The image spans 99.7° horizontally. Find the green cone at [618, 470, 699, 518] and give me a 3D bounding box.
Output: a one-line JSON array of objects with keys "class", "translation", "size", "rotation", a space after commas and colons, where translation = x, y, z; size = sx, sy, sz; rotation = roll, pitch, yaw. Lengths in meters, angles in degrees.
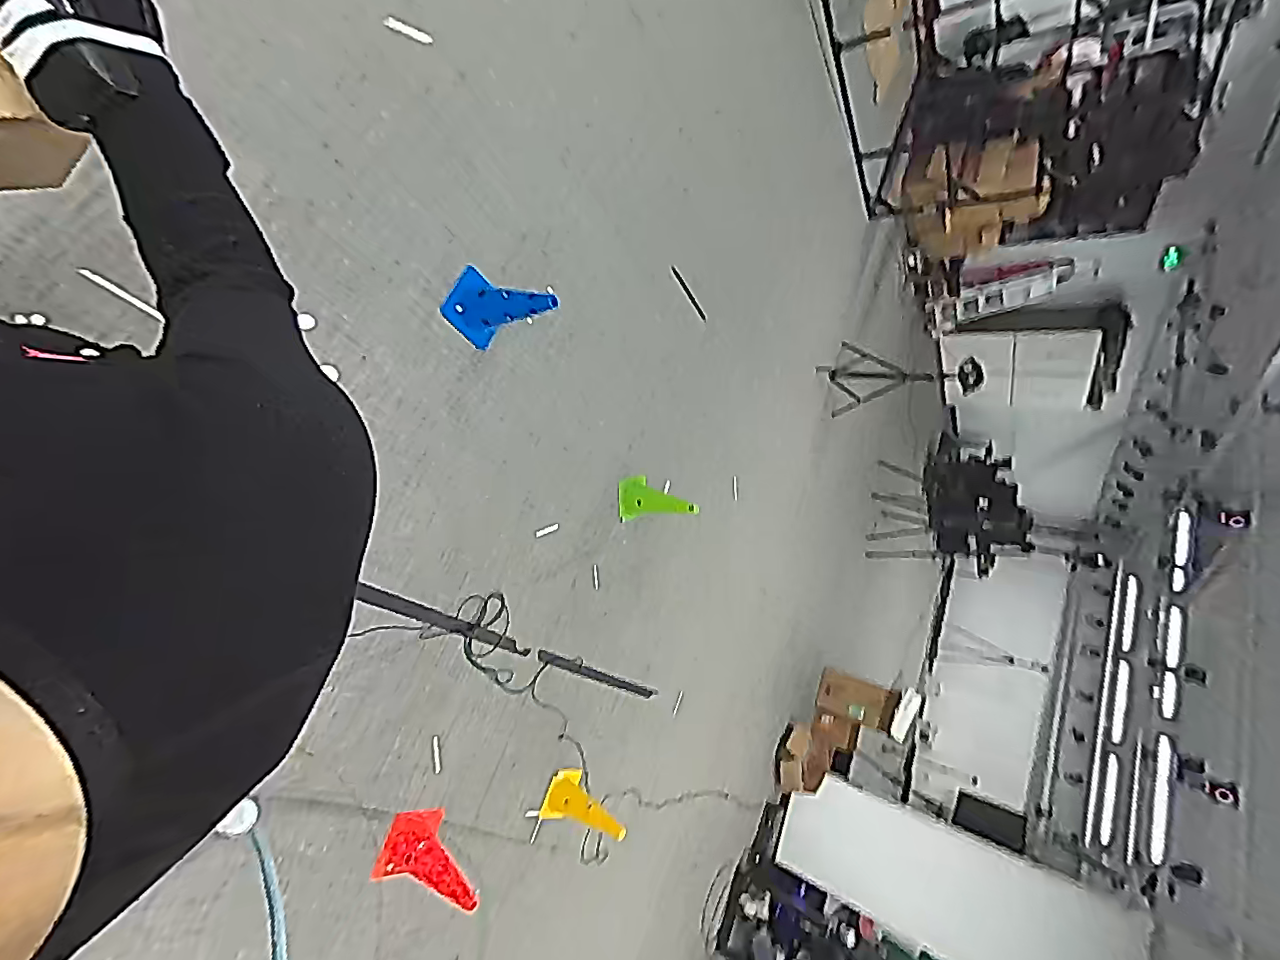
[{"class": "green cone", "translation": [0.100, 0.080, 2.424], "size": [0.200, 0.368, 0.202], "rotation": [-18, 110, -51]}]

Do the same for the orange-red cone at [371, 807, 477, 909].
[{"class": "orange-red cone", "translation": [-0.634, 1.217, 1.693], "size": [0.199, 0.360, 0.198], "rotation": [40, 67, -51]}]

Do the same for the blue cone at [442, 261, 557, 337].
[{"class": "blue cone", "translation": [-0.402, -0.557, 1.635], "size": [0.193, 0.380, 0.192], "rotation": [47, 59, -48]}]

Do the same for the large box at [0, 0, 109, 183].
[{"class": "large box", "translation": [-0.641, -0.346, 0.286], "size": [0.408, 0.320, 0.320], "rotation": [-33, 125, -43]}]
